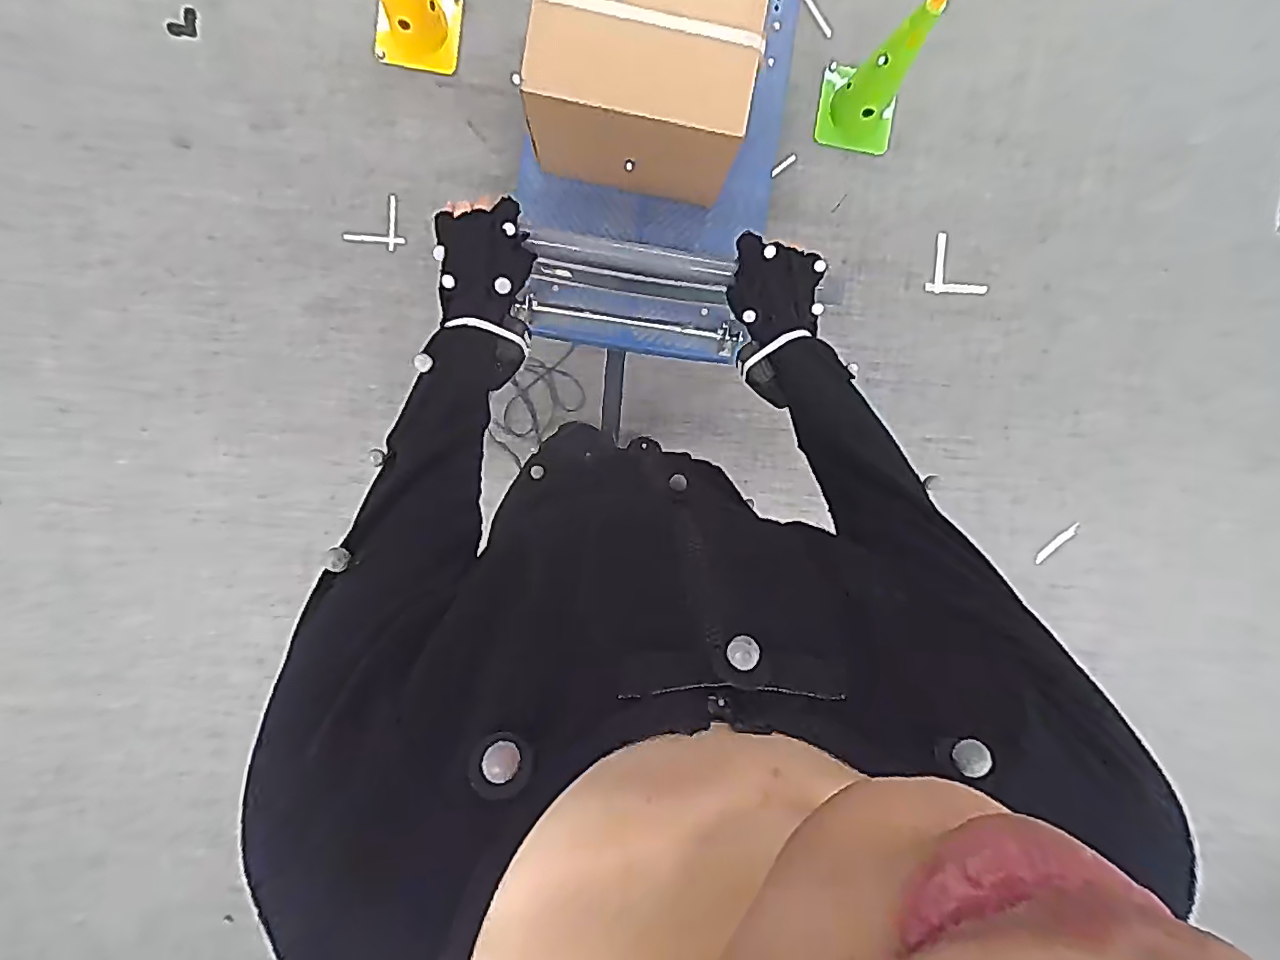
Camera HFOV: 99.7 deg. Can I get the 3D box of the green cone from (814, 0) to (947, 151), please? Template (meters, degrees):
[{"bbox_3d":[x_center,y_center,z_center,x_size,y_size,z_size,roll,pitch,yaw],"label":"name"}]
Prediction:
[{"bbox_3d":[0.579,-0.973,1.259,0.202,0.368,0.200,8,94,-5],"label":"green cone"}]

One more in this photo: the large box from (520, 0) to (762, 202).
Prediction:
[{"bbox_3d":[0.002,-0.809,1.097,0.408,0.320,0.320,10,94,-3],"label":"large box"}]
